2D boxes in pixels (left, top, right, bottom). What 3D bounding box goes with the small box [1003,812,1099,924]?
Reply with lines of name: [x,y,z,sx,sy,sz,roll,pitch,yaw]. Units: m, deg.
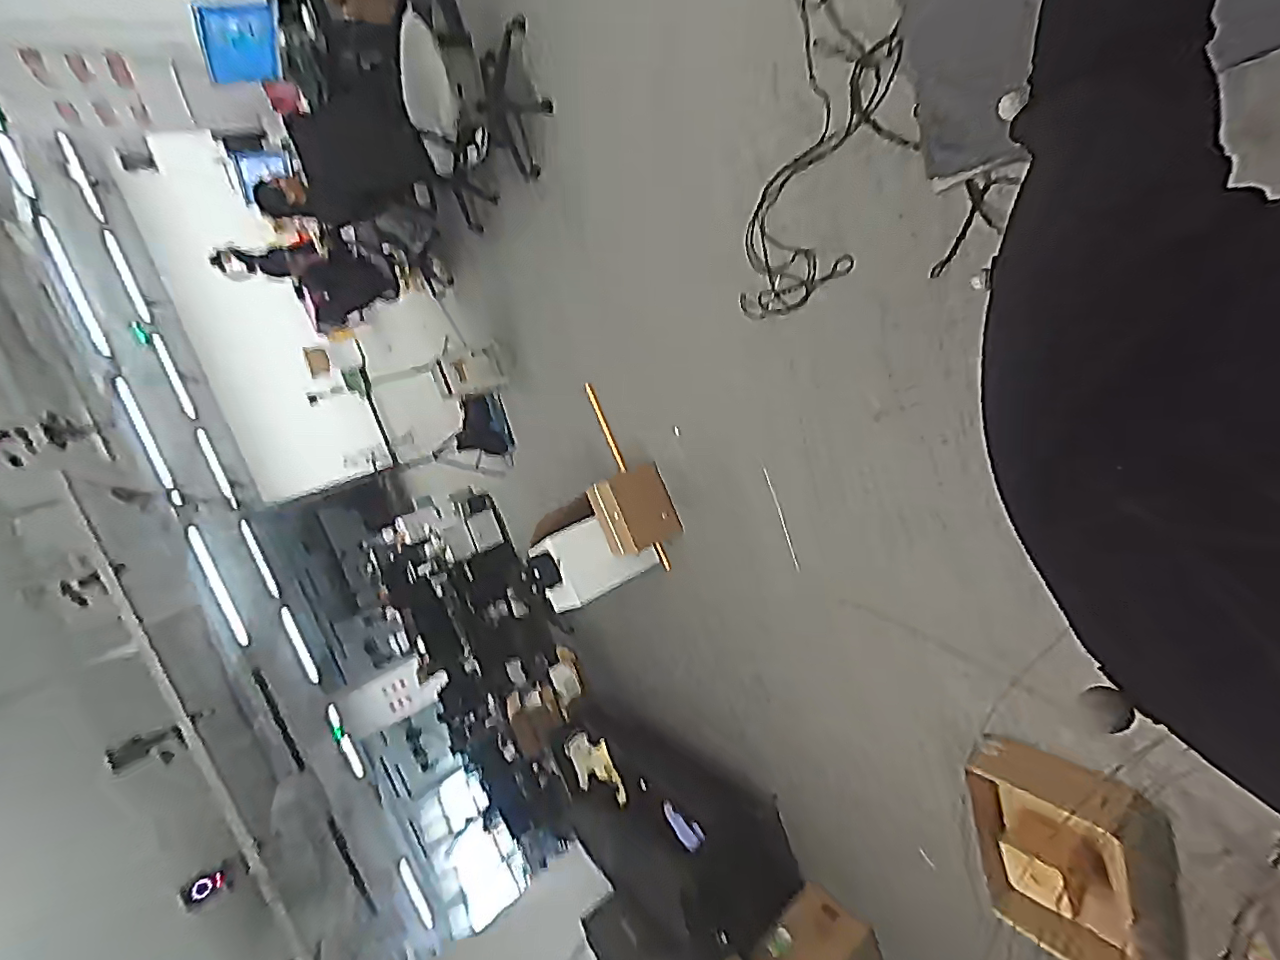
small box: [1.240,1.160,1.630,0.168,0.176,0.179,-6,105,61]
